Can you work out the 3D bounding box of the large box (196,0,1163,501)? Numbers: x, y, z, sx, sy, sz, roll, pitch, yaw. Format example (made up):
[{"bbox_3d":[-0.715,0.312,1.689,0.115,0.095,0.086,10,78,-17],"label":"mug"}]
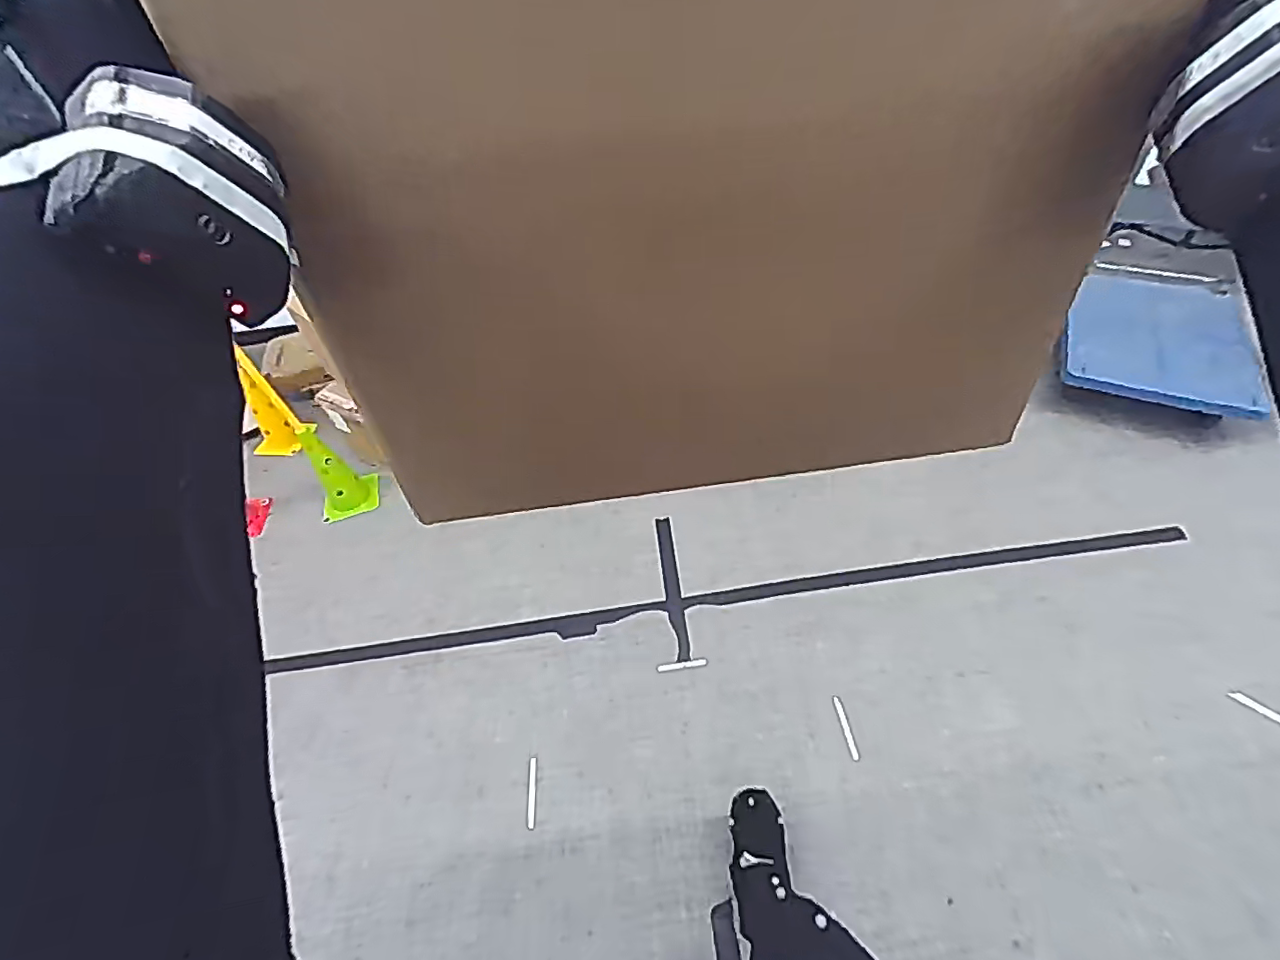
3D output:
[{"bbox_3d":[0.020,-0.217,0.385,0.408,0.320,0.320,-8,42,-2],"label":"large box"}]
